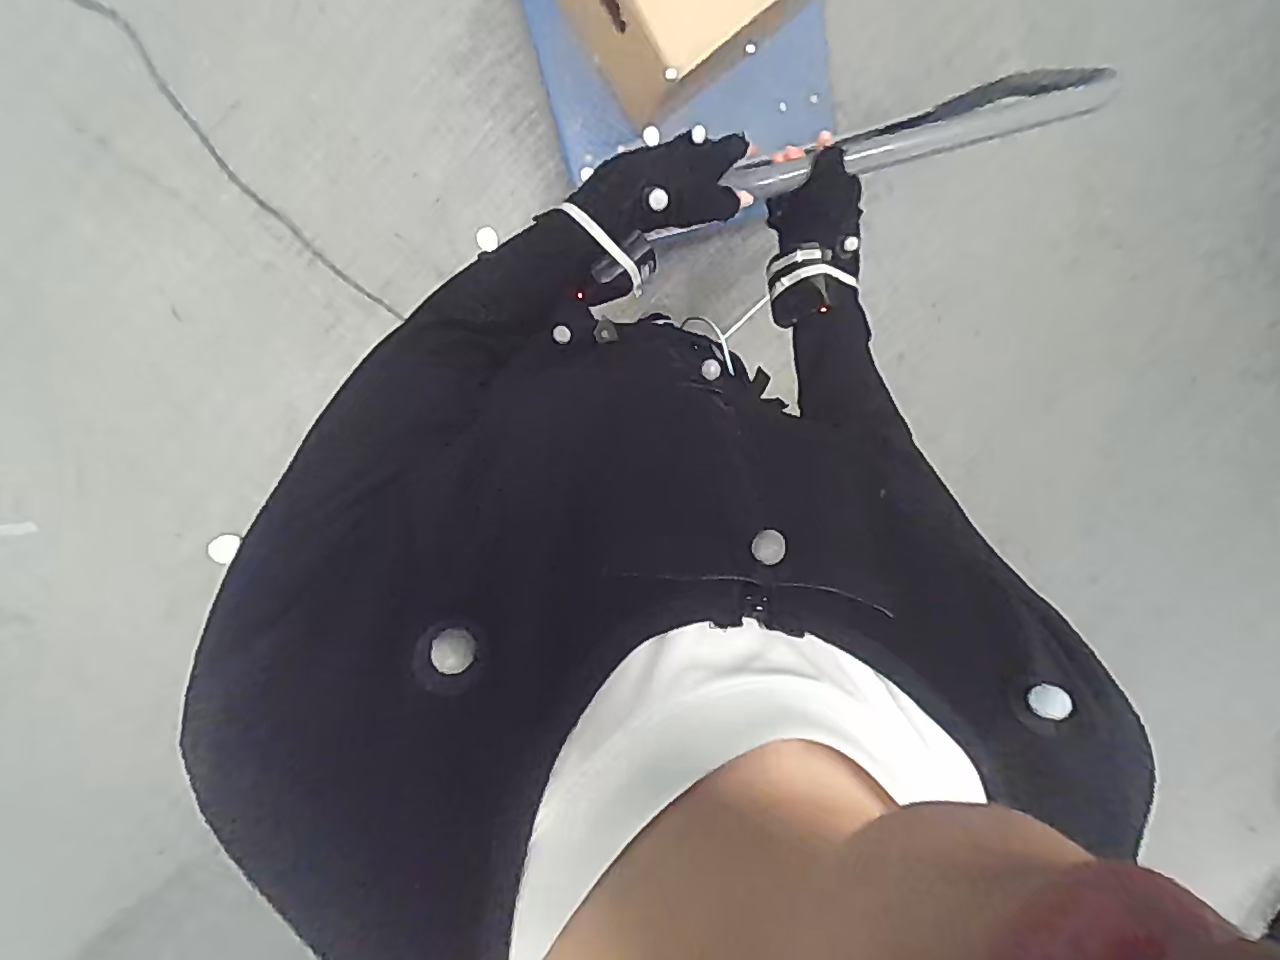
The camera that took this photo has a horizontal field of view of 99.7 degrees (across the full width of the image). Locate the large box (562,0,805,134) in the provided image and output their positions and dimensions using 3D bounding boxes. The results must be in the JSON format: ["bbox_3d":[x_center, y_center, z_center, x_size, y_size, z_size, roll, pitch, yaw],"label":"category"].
[{"bbox_3d":[0.104,-0.888,0.905,0.408,0.320,0.320,-38,109,5],"label":"large box"}]
